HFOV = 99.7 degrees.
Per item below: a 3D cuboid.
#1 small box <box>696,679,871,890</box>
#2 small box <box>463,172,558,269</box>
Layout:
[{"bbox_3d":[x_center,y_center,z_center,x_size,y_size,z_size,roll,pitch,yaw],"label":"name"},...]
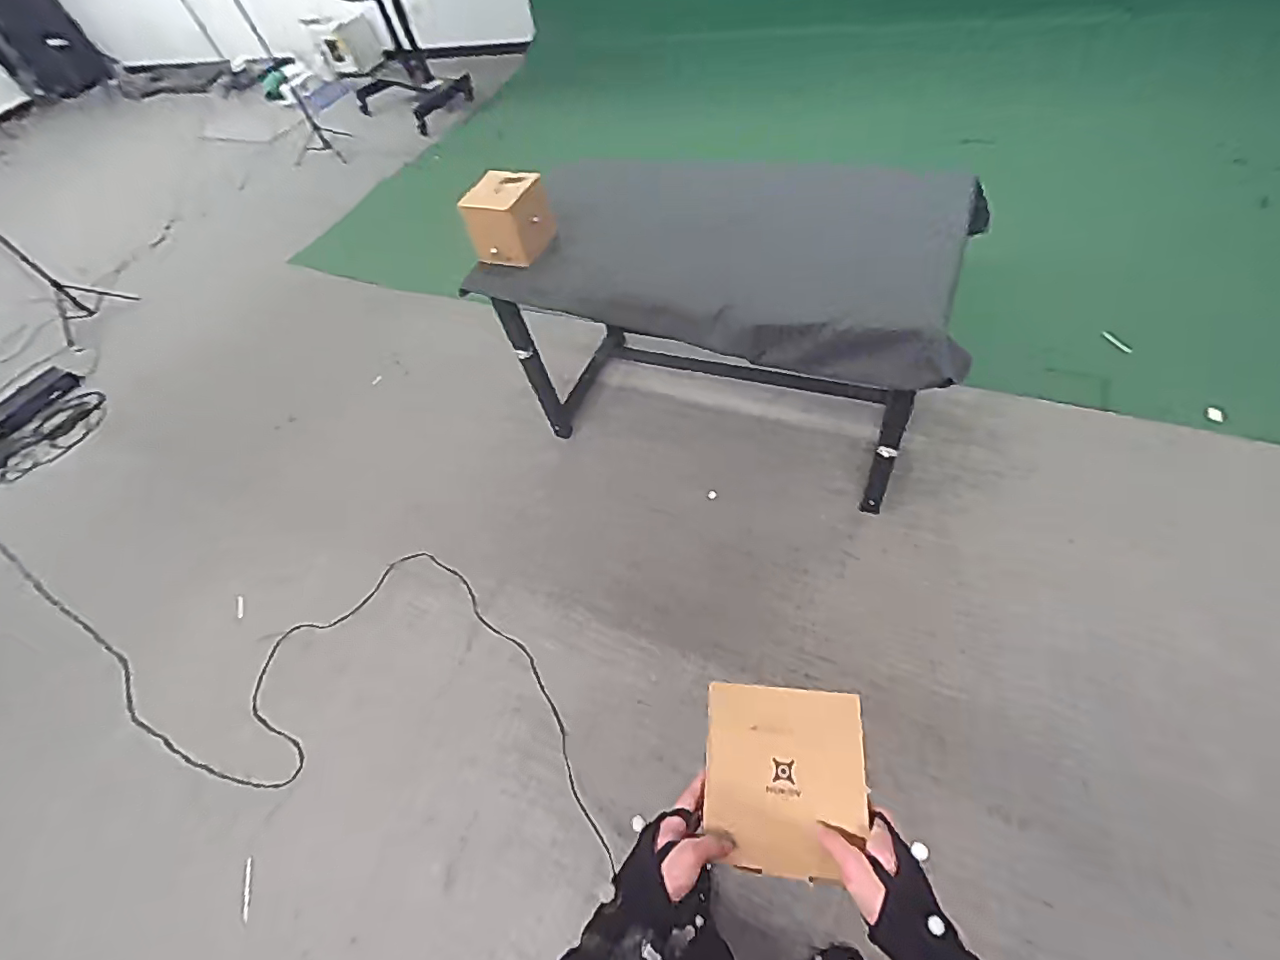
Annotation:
[{"bbox_3d":[0.153,0.339,0.620,0.168,0.176,0.179,2,61,8],"label":"small box"},{"bbox_3d":[-0.341,-0.707,1.473,0.168,0.176,0.179,15,60,22],"label":"small box"}]
